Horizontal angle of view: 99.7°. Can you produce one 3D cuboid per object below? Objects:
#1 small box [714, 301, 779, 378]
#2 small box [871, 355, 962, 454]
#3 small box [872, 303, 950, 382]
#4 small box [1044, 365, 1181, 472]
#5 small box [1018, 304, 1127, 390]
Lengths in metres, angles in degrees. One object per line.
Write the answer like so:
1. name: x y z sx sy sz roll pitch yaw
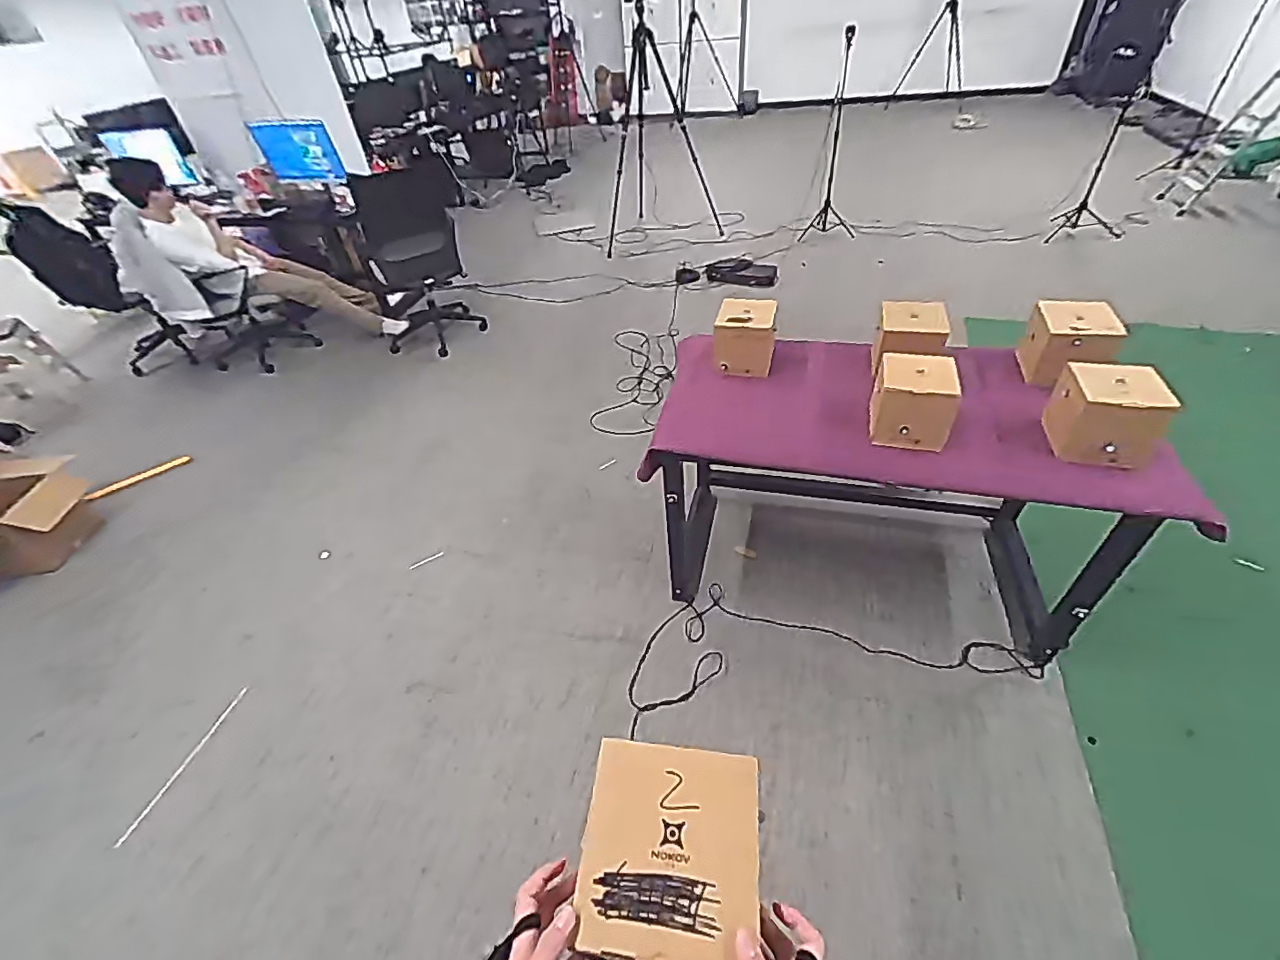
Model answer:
1. small box: 0.326 -0.428 1.652 0.168 0.176 0.179 8 45 15
2. small box: 0.680 -0.190 1.349 0.168 0.176 0.179 9 44 16
3. small box: 0.771 -0.389 1.556 0.168 0.176 0.179 8 46 16
4. small box: 1.067 -0.144 1.242 0.168 0.176 0.179 8 43 17
5. small box: 1.158 -0.358 1.465 0.168 0.176 0.179 6 45 17
